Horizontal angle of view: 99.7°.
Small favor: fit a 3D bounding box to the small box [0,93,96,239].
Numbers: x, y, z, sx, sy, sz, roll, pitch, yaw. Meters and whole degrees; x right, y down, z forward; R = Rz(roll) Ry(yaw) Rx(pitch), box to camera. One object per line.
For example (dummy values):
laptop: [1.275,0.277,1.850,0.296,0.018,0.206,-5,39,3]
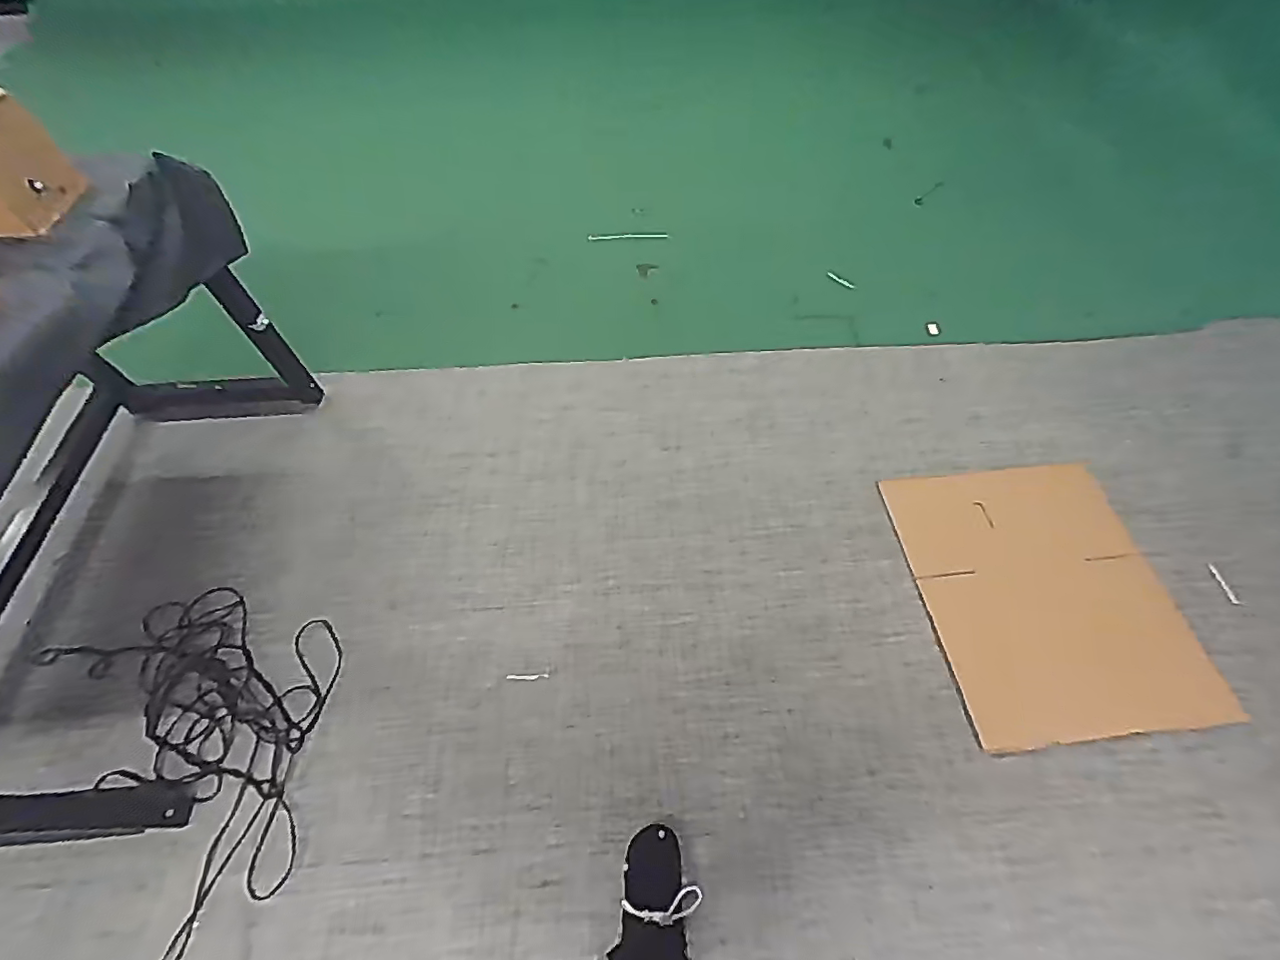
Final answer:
small box: [-1.139,-0.541,0.941,0.179,0.176,0.168,0,58,1]
